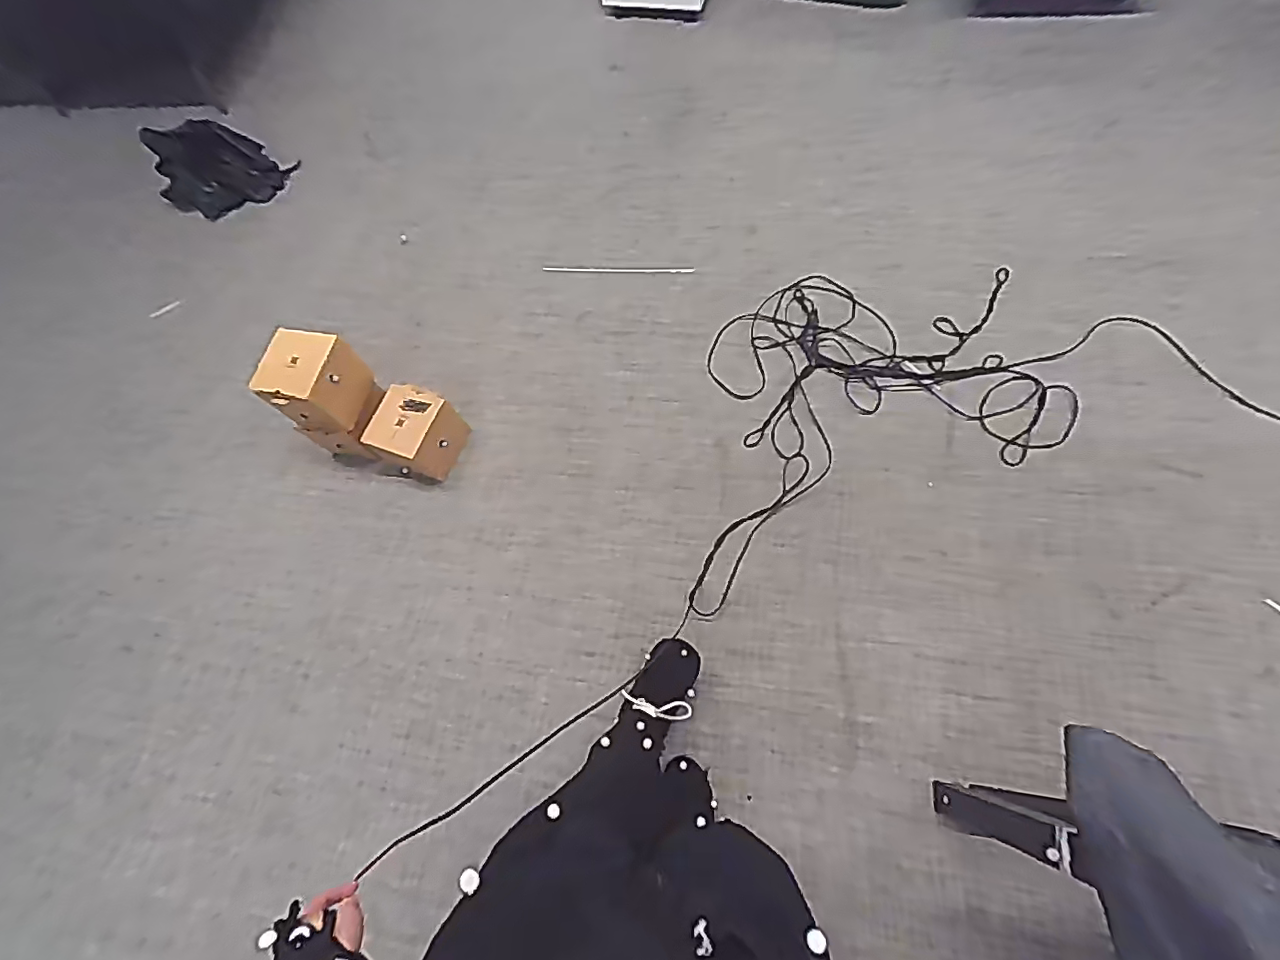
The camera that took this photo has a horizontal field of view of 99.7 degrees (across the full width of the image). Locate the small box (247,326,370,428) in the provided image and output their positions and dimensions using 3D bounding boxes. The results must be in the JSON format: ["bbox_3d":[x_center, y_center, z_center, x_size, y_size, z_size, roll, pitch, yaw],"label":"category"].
[{"bbox_3d":[-0.802,-0.250,1.334,0.168,0.176,0.179,9,70,10],"label":"small box"}]

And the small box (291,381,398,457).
[{"bbox_3d":[-0.798,-0.179,1.481,0.168,0.176,0.179,9,71,11],"label":"small box"}]
